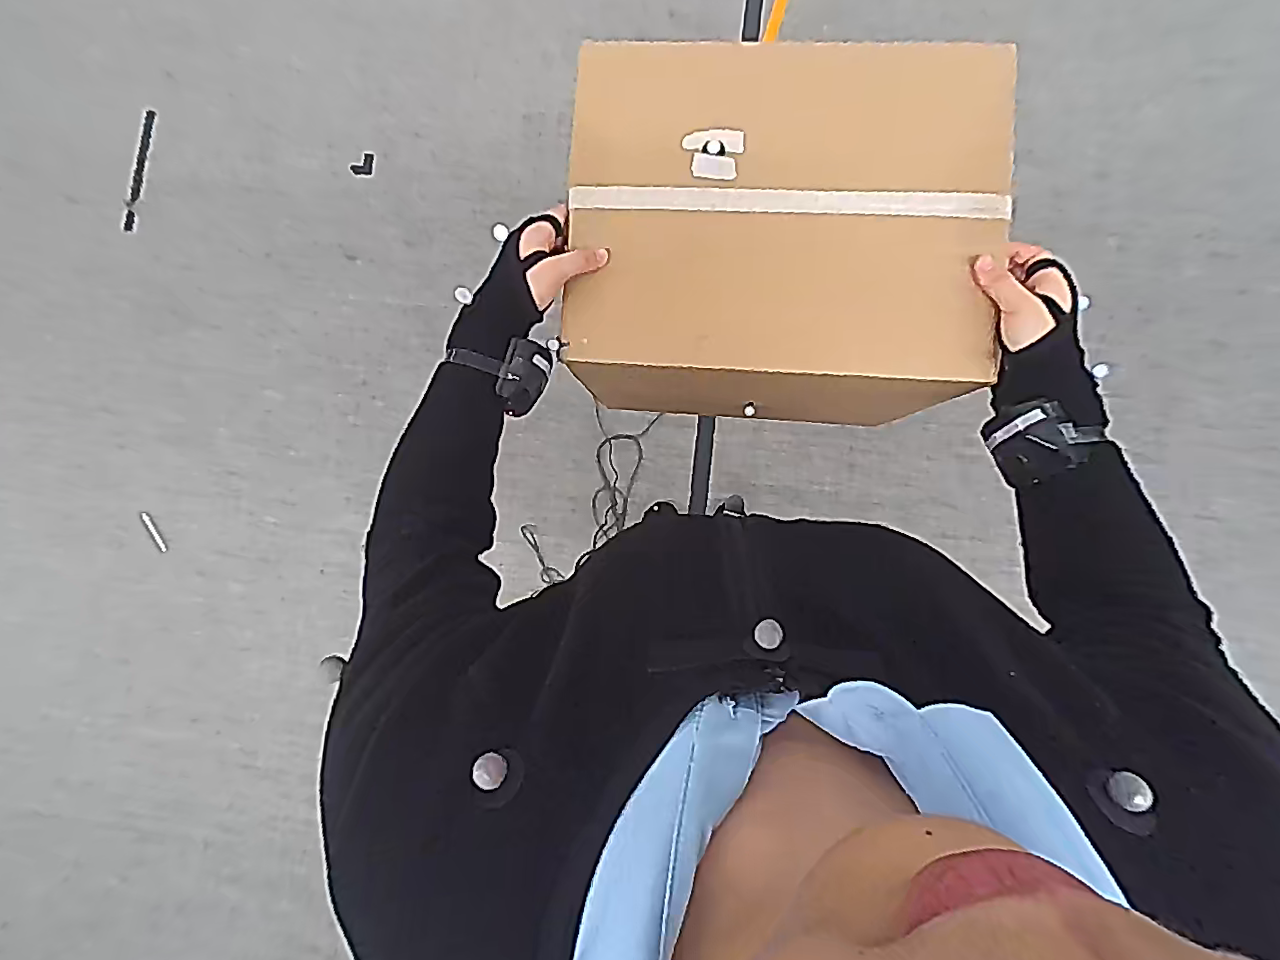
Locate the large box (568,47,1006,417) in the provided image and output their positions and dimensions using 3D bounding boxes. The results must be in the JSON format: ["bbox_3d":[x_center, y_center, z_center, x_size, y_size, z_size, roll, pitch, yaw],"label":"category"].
[{"bbox_3d":[0.151,-0.253,0.664,0.408,0.320,0.320,4,88,6],"label":"large box"}]
